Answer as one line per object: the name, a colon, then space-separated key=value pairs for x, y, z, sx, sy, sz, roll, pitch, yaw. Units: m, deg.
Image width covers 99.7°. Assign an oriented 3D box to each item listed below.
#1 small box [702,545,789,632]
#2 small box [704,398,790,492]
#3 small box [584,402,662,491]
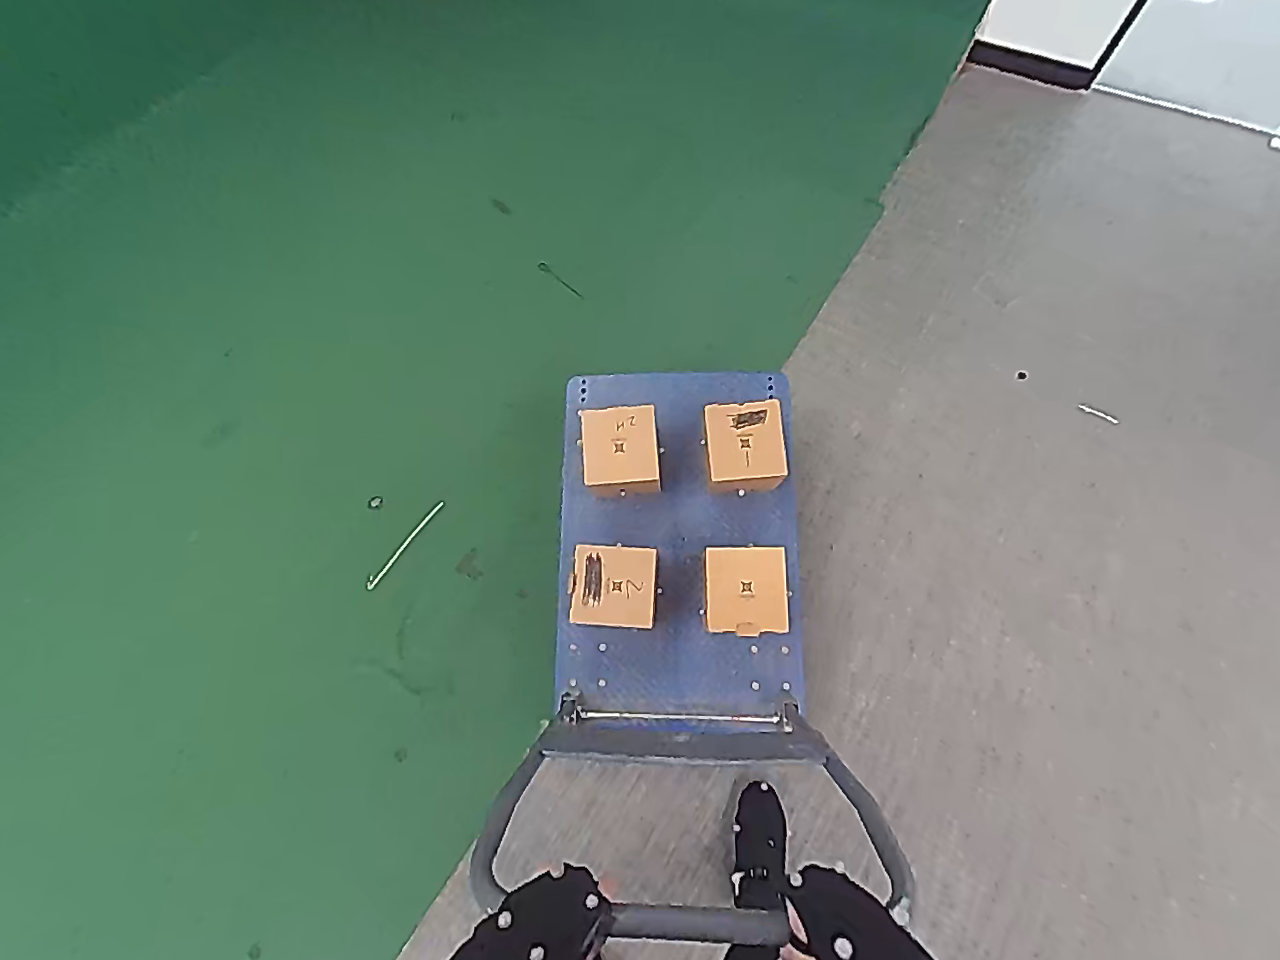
small box: x=0.225 y=0.237 z=1.190 sx=0.168 sy=0.176 sz=0.179 roll=0 pitch=80 yaw=3
small box: x=0.240 y=-0.075 z=1.248 sx=0.168 sy=0.176 sz=0.179 roll=-4 pitch=80 yaw=3
small box: x=-0.035 y=-0.070 z=1.263 sx=0.168 sy=0.176 sz=0.179 roll=-3 pitch=79 yaw=2
